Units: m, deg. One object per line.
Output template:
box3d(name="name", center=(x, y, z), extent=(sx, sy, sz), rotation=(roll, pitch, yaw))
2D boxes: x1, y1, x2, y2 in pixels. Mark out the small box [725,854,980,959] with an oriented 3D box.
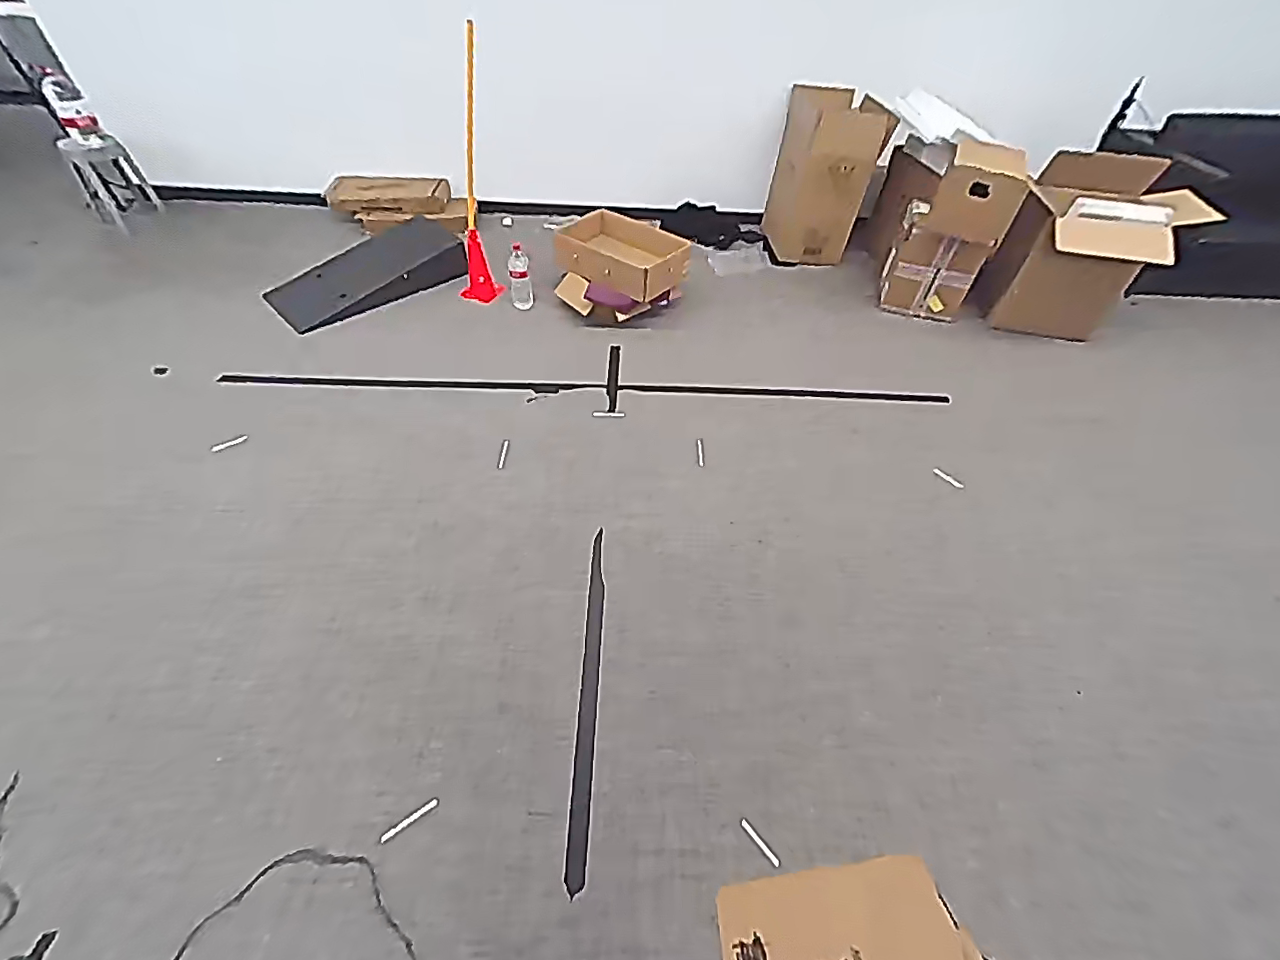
box3d(name="small box", center=(0.172, 0.429, 0.403), extent=(0.179, 0.176, 0.168), rotation=(-13, 12, 4))
